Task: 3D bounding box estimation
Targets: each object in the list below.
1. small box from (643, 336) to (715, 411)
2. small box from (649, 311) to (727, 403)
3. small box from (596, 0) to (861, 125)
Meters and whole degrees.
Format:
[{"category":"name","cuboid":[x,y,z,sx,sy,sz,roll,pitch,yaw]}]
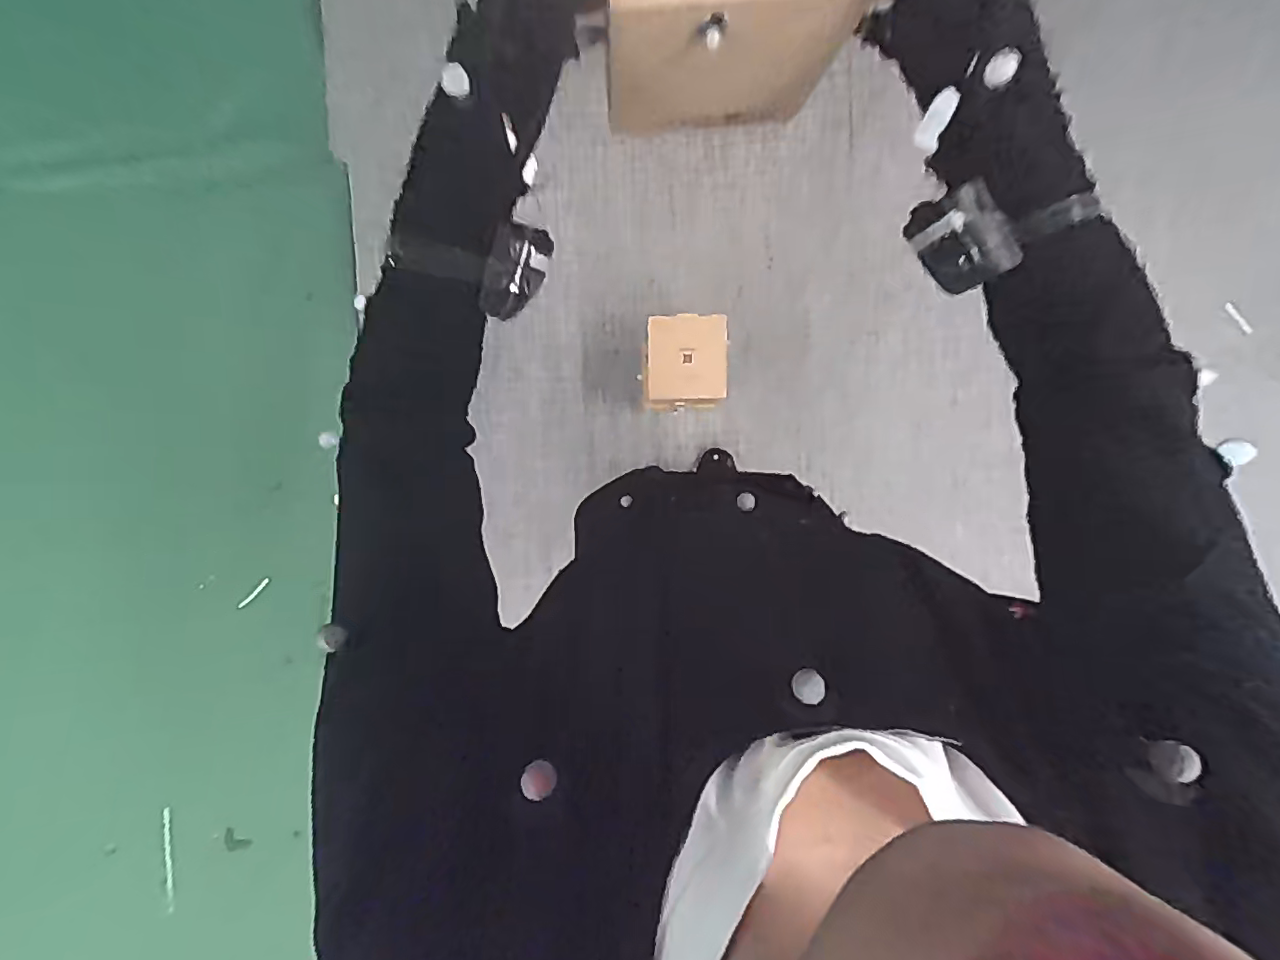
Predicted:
[{"category":"small box","cuboid":[0.097,-0.267,1.371,0.179,0.176,0.168,0,93,3]},{"category":"small box","cuboid":[0.104,-0.268,1.209,0.168,0.176,0.179,-1,93,4]},{"category":"small box","cuboid":[0.050,-0.388,0.379,0.168,0.176,0.179,-6,99,-2]}]
